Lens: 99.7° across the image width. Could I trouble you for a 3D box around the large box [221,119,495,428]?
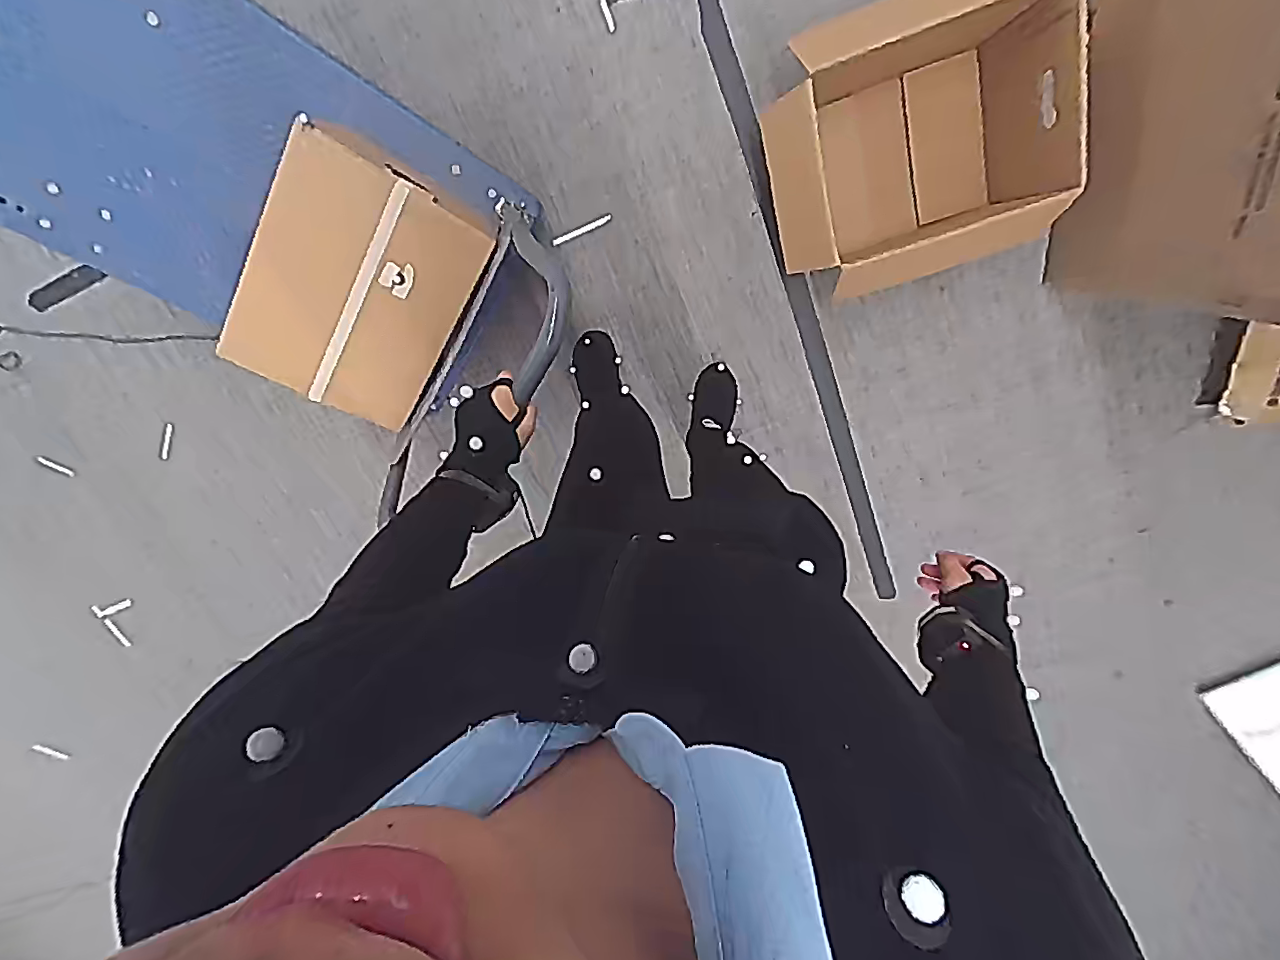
[{"bbox_3d":[-0.508,-0.381,1.035,0.320,0.320,0.408,26,110,-26],"label":"large box"}]
